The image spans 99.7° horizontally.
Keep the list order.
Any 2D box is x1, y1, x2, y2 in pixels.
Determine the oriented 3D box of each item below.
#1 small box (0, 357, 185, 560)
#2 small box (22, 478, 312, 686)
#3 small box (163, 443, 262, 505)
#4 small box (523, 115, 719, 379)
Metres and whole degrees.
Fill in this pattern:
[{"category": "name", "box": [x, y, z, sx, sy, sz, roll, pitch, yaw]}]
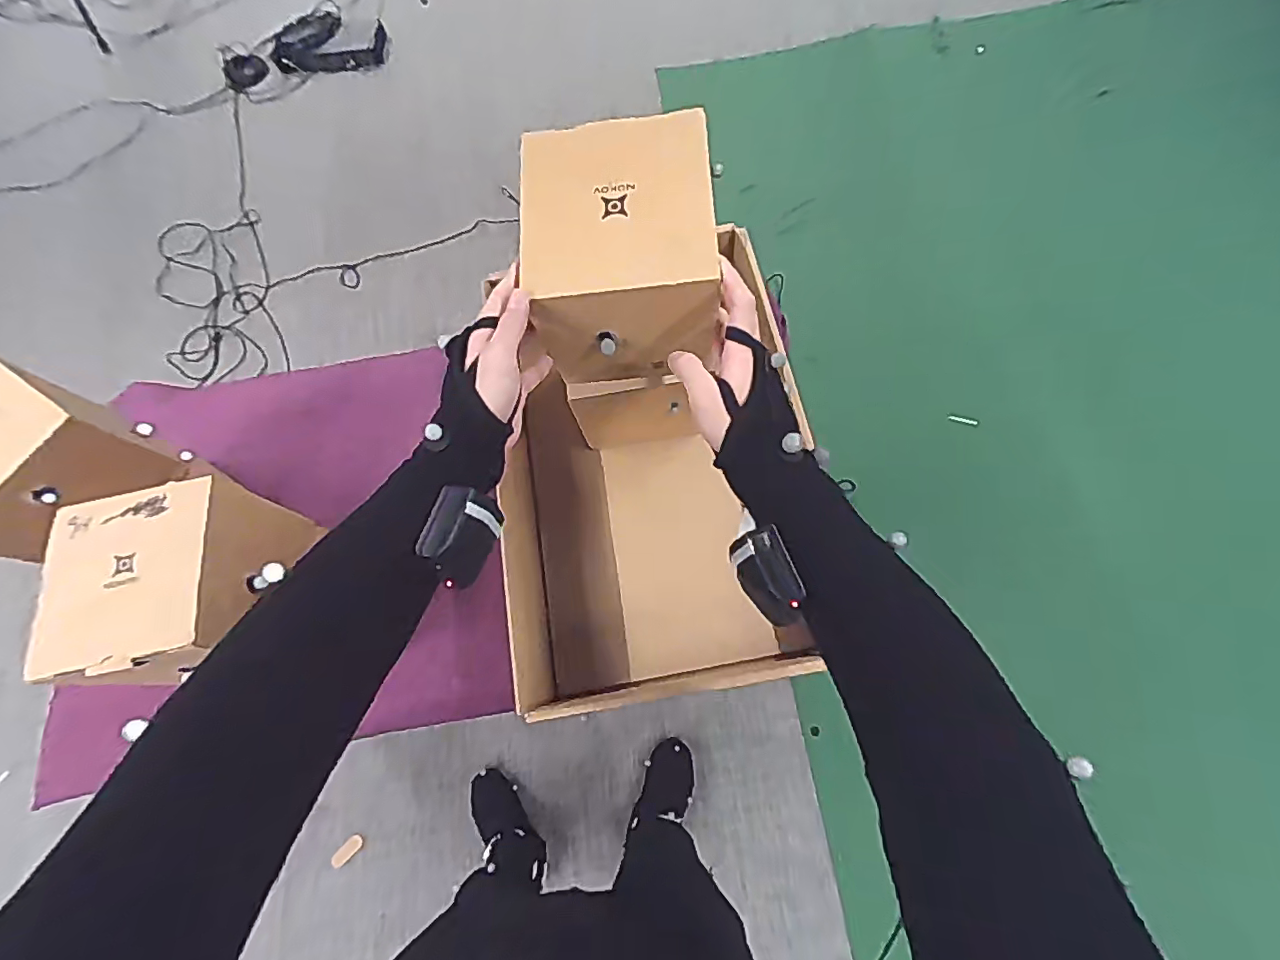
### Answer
[{"category": "small box", "box": [-0.731, -0.015, 0.662, 0.168, 0.176, 0.179, 31, 75, 12]}, {"category": "small box", "box": [-0.492, 0.119, 0.595, 0.168, 0.176, 0.179, -12, 69, 0]}, {"category": "small box", "box": [-0.725, 0.045, 0.813, 0.179, 0.176, 0.168, 30, 74, 13]}, {"category": "small box", "box": [-0.011, -0.211, 0.537, 0.168, 0.176, 0.179, -5, 74, 4]}]
